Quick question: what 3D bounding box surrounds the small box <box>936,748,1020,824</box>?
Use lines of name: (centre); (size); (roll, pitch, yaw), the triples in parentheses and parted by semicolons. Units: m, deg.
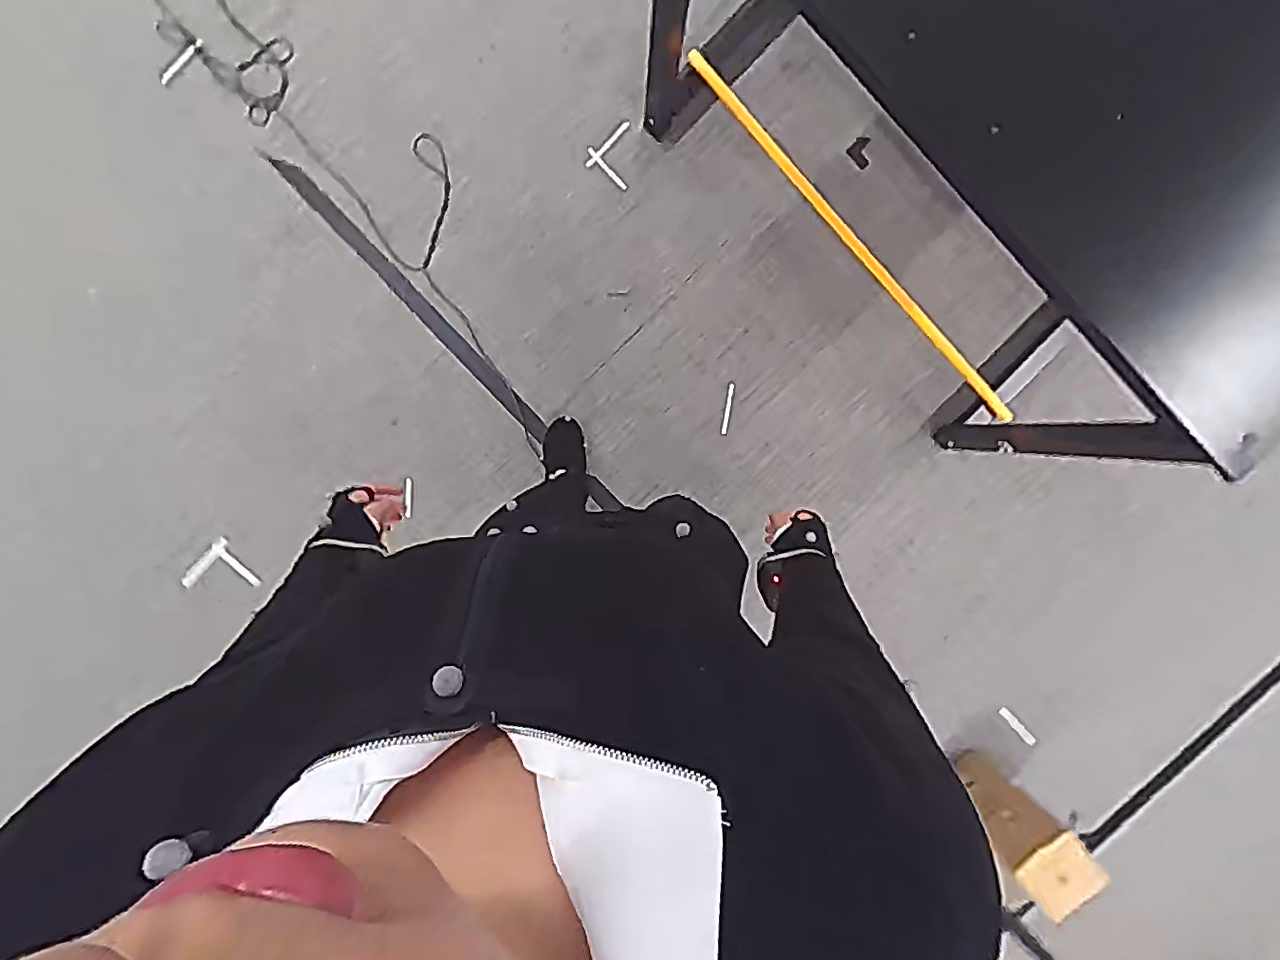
small box: (0.988, 0.896, 1.530); (0.179, 0.176, 0.168); (45, 92, -5)

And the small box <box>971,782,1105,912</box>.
small box: (0.994, 0.916, 1.366); (0.168, 0.176, 0.179); (-40, 95, 2)
